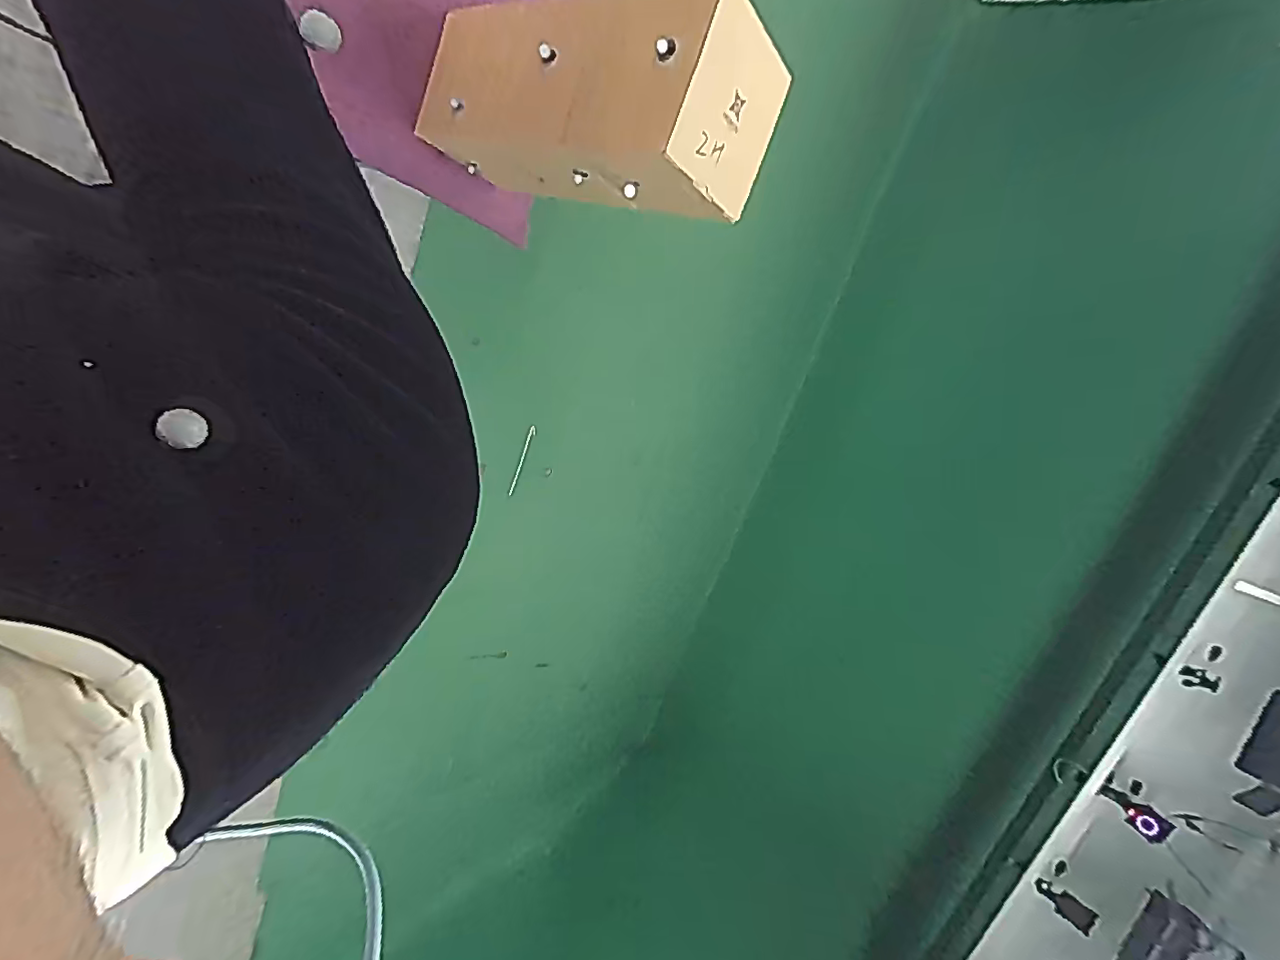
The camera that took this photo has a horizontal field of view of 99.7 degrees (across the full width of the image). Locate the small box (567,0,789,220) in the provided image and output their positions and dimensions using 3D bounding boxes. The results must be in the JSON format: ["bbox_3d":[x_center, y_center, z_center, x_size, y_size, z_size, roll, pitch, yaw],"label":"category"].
[{"bbox_3d":[0.041,-0.438,0.634,0.168,0.176,0.179,6,110,-54],"label":"small box"}]

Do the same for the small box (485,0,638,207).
[{"bbox_3d":[-0.081,-0.500,0.726,0.168,0.176,0.179,7,107,-54],"label":"small box"}]
